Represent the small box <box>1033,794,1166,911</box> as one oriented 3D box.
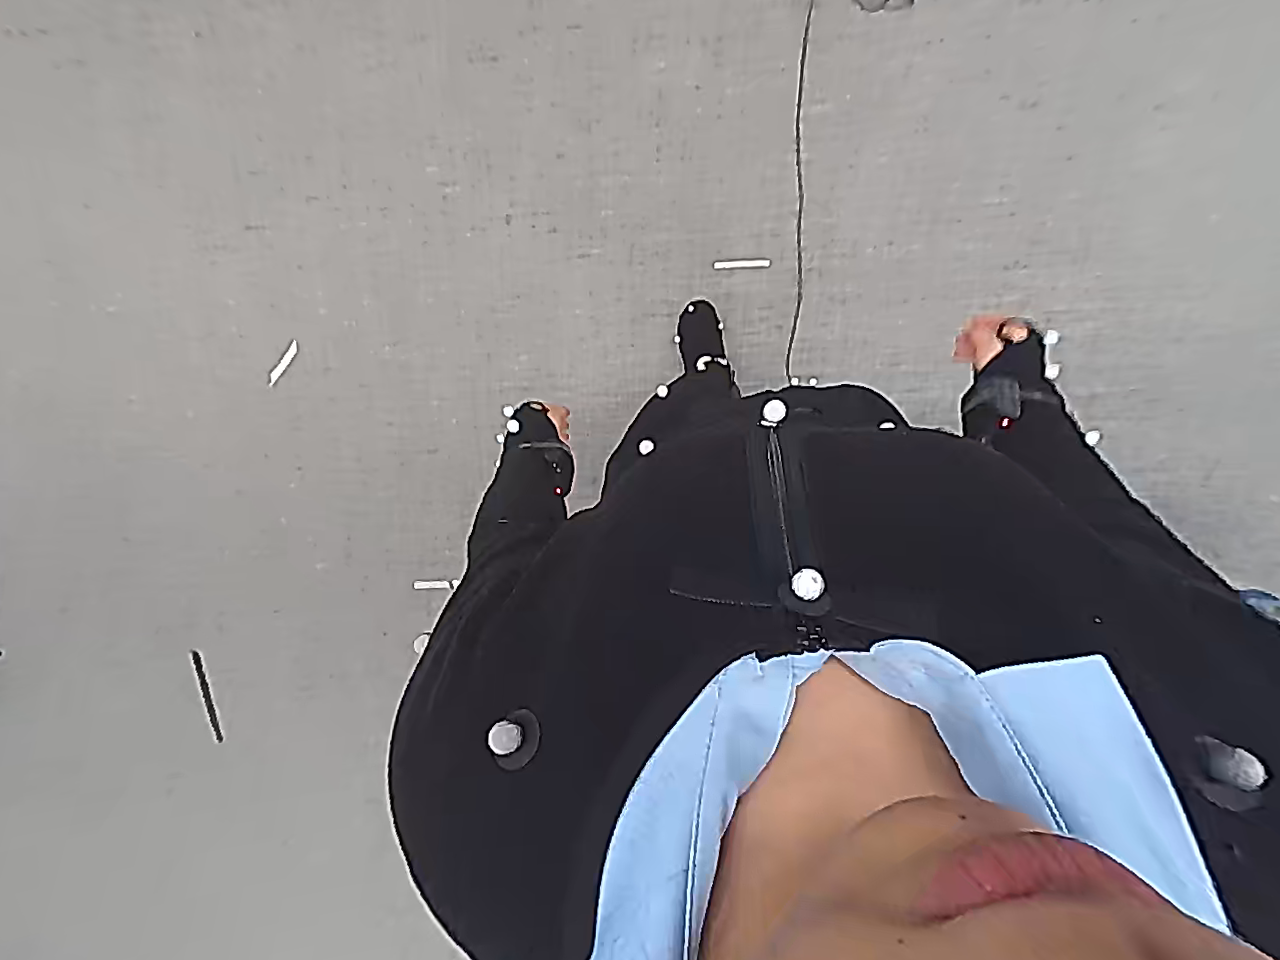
[{"bbox_3d":[1.128,0.913,1.338,0.179,0.176,0.168,2,103,6],"label":"small box"}]
